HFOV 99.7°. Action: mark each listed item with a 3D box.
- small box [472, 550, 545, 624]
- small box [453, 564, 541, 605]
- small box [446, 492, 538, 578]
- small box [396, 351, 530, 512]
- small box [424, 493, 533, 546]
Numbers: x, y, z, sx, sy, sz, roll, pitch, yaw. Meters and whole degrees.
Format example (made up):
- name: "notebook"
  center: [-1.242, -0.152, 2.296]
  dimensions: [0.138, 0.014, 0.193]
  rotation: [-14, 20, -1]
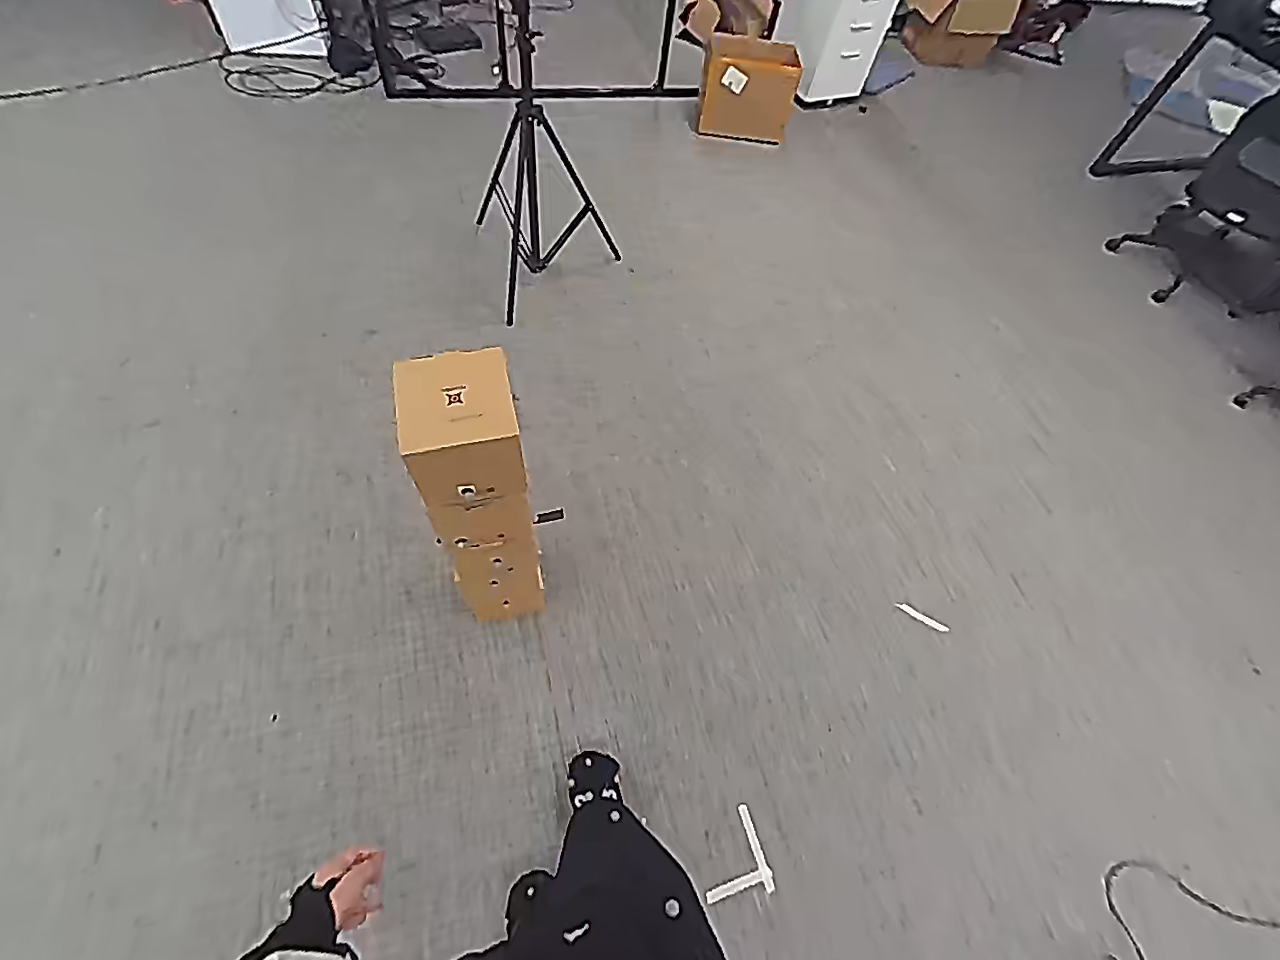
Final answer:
- name: "small box"
  center: [-0.347, 0.261, 1.411]
  dimensions: [0.179, 0.176, 0.168]
  rotation: [-10, 61, -13]
- name: "small box"
  center: [-0.334, 0.182, 1.268]
  dimensions: [0.179, 0.176, 0.168]
  rotation: [-8, 62, -12]
- name: "small box"
  center: [-0.308, 0.094, 1.132]
  dimensions: [0.168, 0.176, 0.179]
  rotation: [-9, 62, -12]
- name: "small box"
  center: [-0.273, -0.074, 0.854]
  dimensions: [0.168, 0.176, 0.179]
  rotation: [-12, 63, -13]
- name: "small box"
  center: [-0.294, 0.009, 0.992]
  dimensions: [0.168, 0.176, 0.179]
  rotation: [-9, 60, -12]
